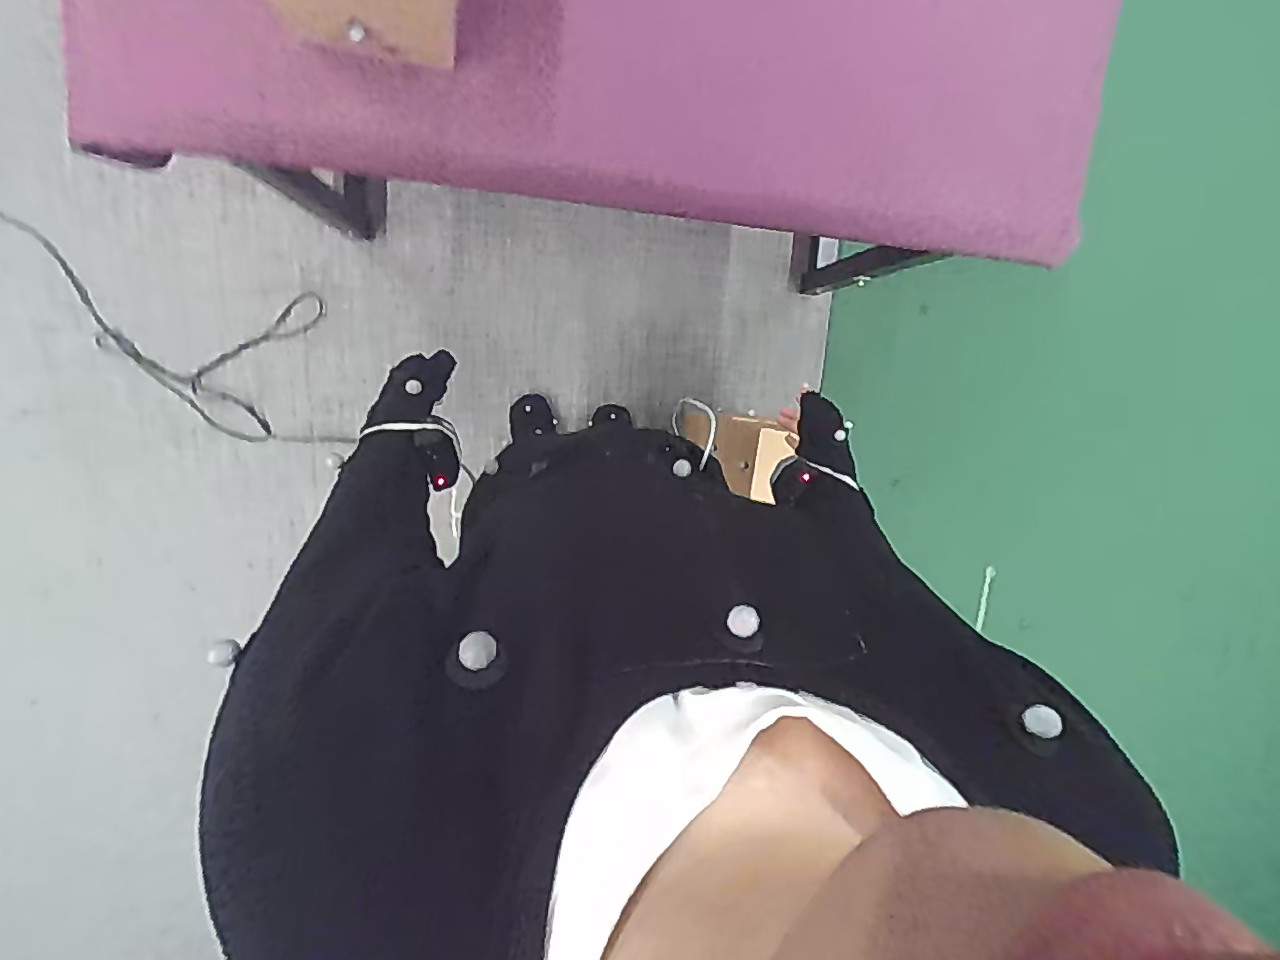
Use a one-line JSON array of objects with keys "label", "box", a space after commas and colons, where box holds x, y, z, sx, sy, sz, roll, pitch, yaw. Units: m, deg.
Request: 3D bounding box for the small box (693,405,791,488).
[{"label": "small box", "box": [0.231, -0.076, 1.275, 0.168, 0.176, 0.179, 6, 100, -11]}]

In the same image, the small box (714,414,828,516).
[{"label": "small box", "box": [0.261, -0.035, 1.120, 0.168, 0.176, 0.179, 5, 100, -11]}]

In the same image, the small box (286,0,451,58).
[{"label": "small box", "box": [-0.269, -0.546, 0.497, 0.168, 0.176, 0.179, 6, 101, -11]}]
